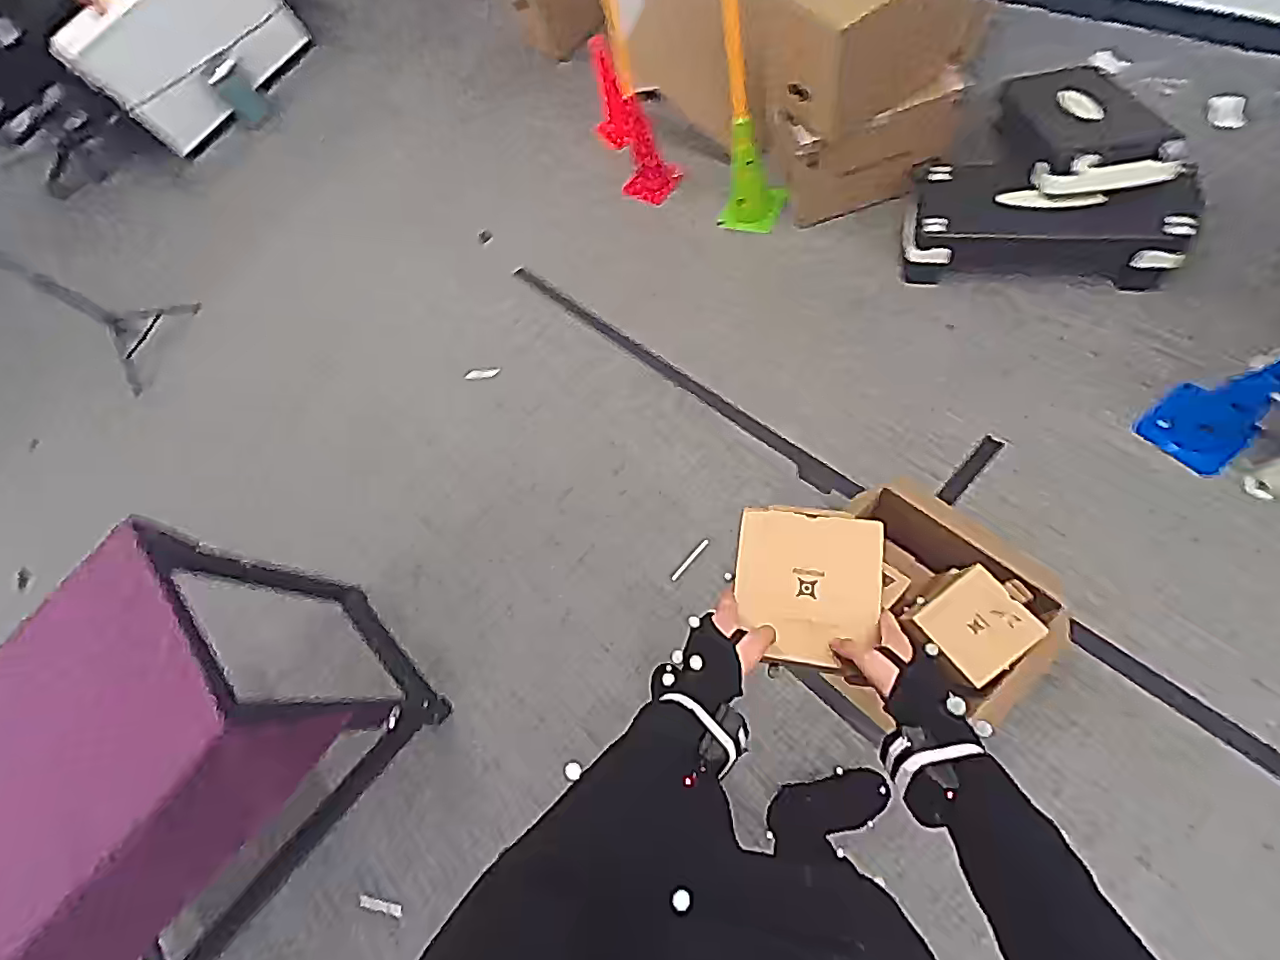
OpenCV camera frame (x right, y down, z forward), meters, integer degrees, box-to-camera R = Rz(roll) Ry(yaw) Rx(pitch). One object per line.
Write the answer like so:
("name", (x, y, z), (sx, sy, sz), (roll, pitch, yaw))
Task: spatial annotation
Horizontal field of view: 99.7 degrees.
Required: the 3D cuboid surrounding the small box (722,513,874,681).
("small box", (0.198, 0.158, 0.709), (0.168, 0.176, 0.179), (5, 69, 10))
